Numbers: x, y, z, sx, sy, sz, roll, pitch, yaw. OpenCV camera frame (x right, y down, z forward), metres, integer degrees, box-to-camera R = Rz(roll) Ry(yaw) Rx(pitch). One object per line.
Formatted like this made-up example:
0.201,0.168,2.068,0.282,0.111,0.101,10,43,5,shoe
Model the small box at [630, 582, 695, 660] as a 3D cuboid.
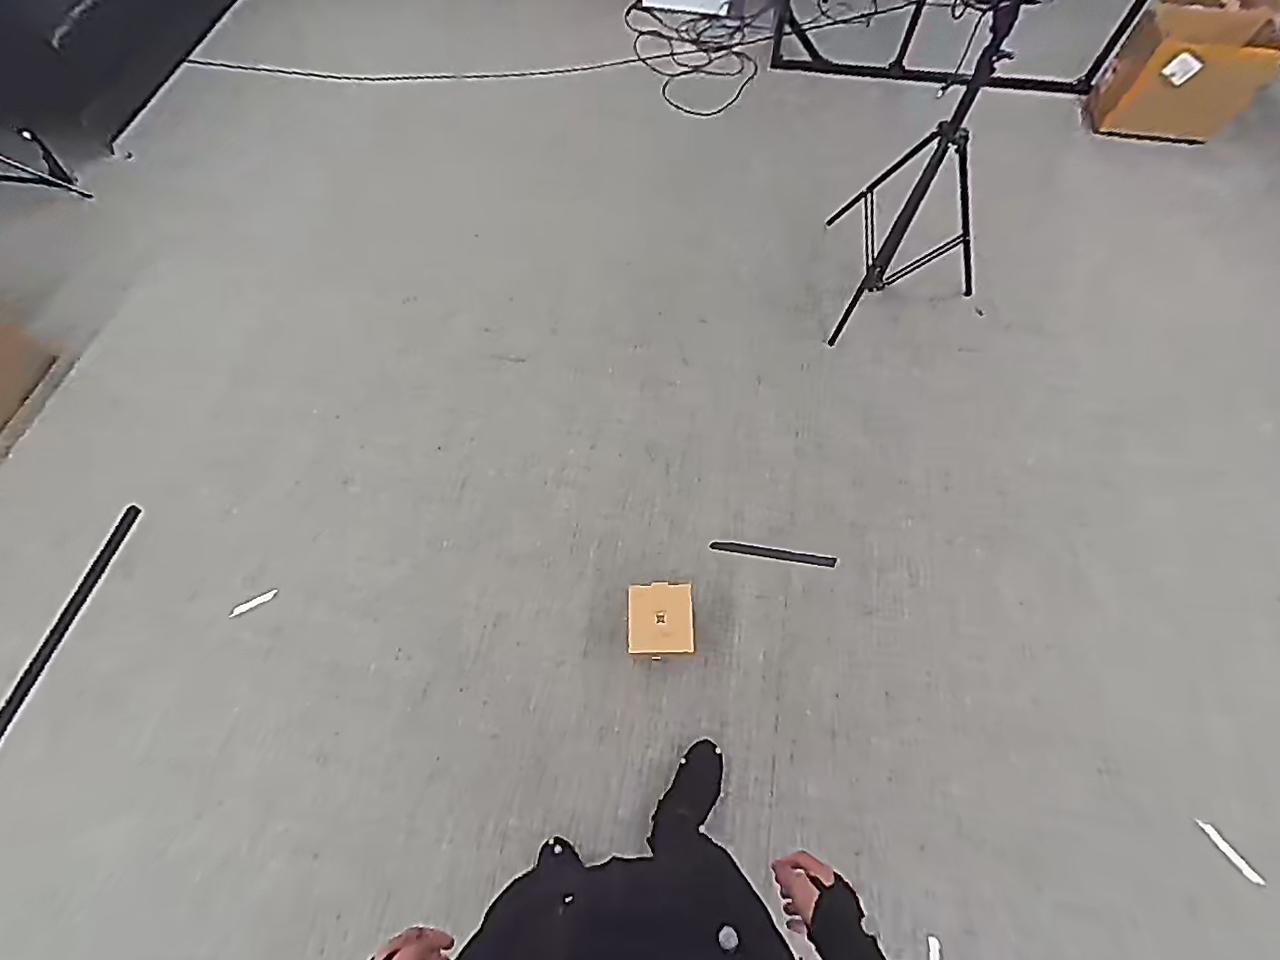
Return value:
0.058,0.381,1.448,0.168,0.176,0.179,-1,65,2,small box
